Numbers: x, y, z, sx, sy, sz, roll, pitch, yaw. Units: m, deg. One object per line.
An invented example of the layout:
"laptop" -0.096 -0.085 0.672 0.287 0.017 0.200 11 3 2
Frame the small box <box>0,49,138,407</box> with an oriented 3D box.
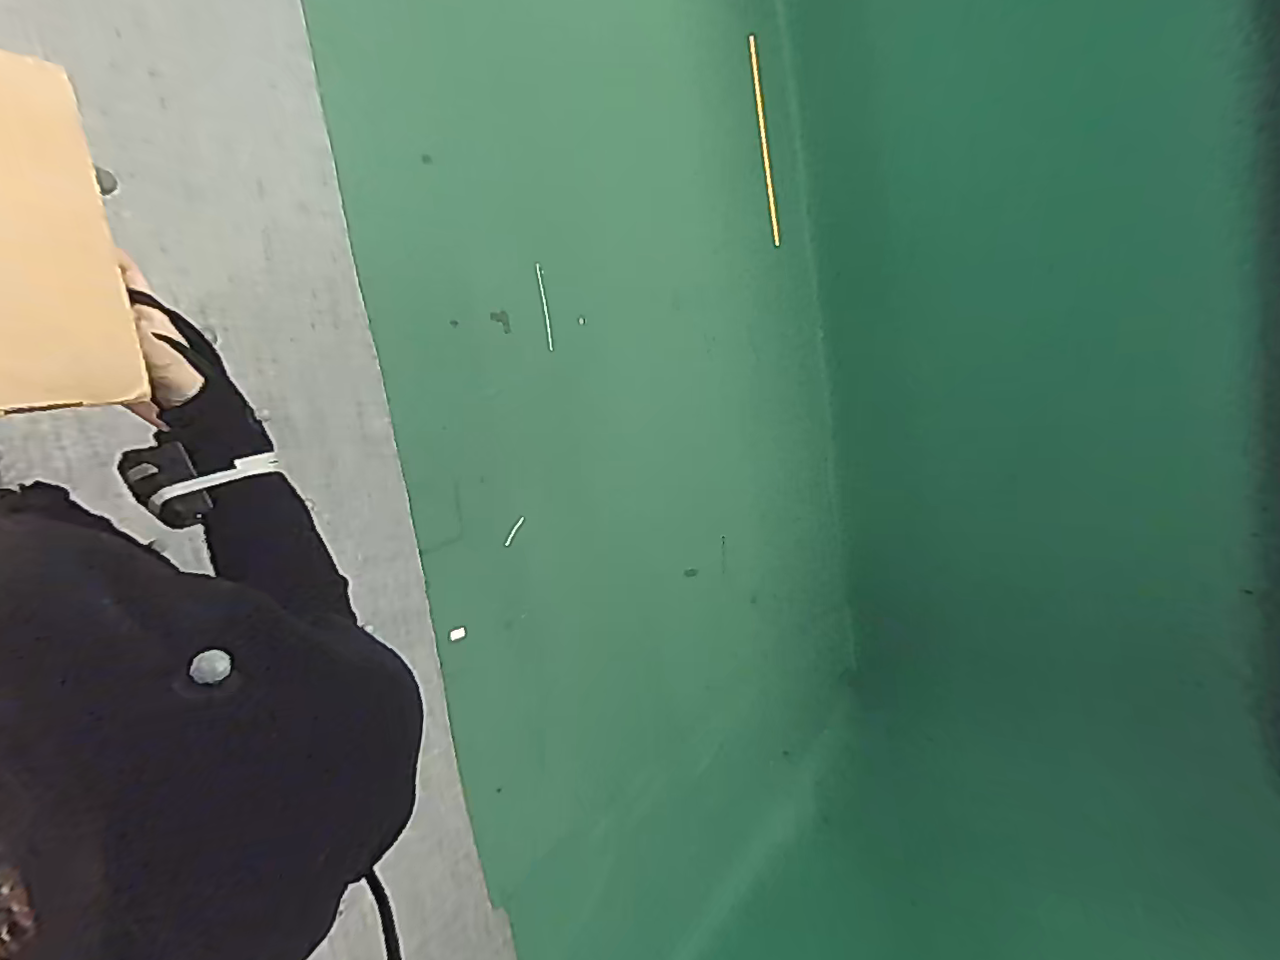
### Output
"small box" -0.414 -0.129 0.283 0.168 0.176 0.179 -20 116 -53
